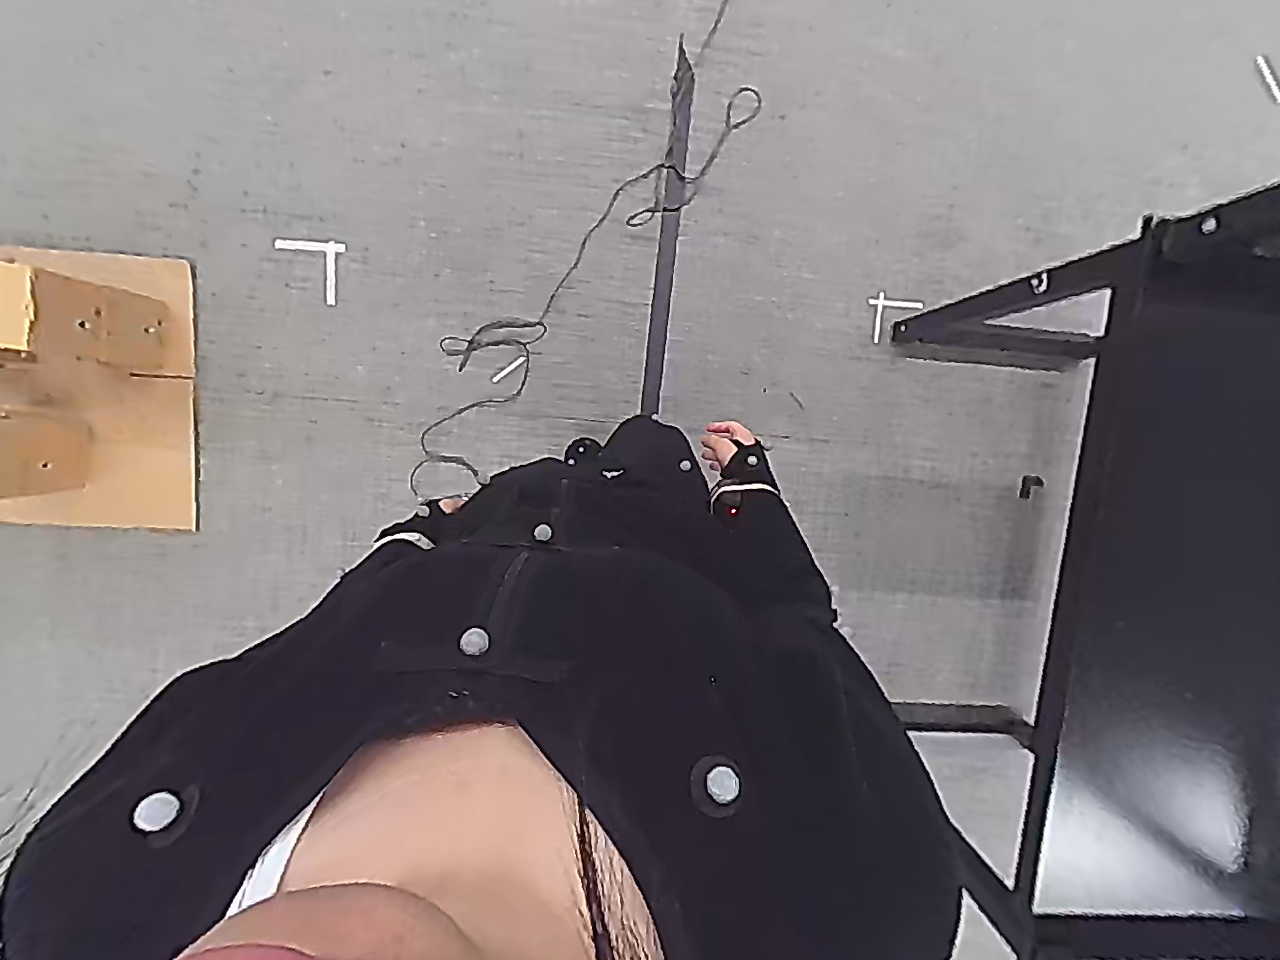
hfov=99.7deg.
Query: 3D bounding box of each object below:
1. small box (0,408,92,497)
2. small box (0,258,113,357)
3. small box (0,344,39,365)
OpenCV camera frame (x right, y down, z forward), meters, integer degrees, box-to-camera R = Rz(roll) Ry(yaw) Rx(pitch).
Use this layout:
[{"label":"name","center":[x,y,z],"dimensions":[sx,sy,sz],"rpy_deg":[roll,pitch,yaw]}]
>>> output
[{"label":"small box","center":[-1.491,-0.072,1.307],"dimensions":[0.168,0.176,0.179],"rpy_deg":[13,96,-5]},{"label":"small box","center":[-1.271,-0.357,1.128],"dimensions":[0.179,0.176,0.168],"rpy_deg":[8,95,-6]},{"label":"small box","center":[-1.591,-0.371,1.273],"dimensions":[0.168,0.176,0.179],"rpy_deg":[0,97,-3]}]
